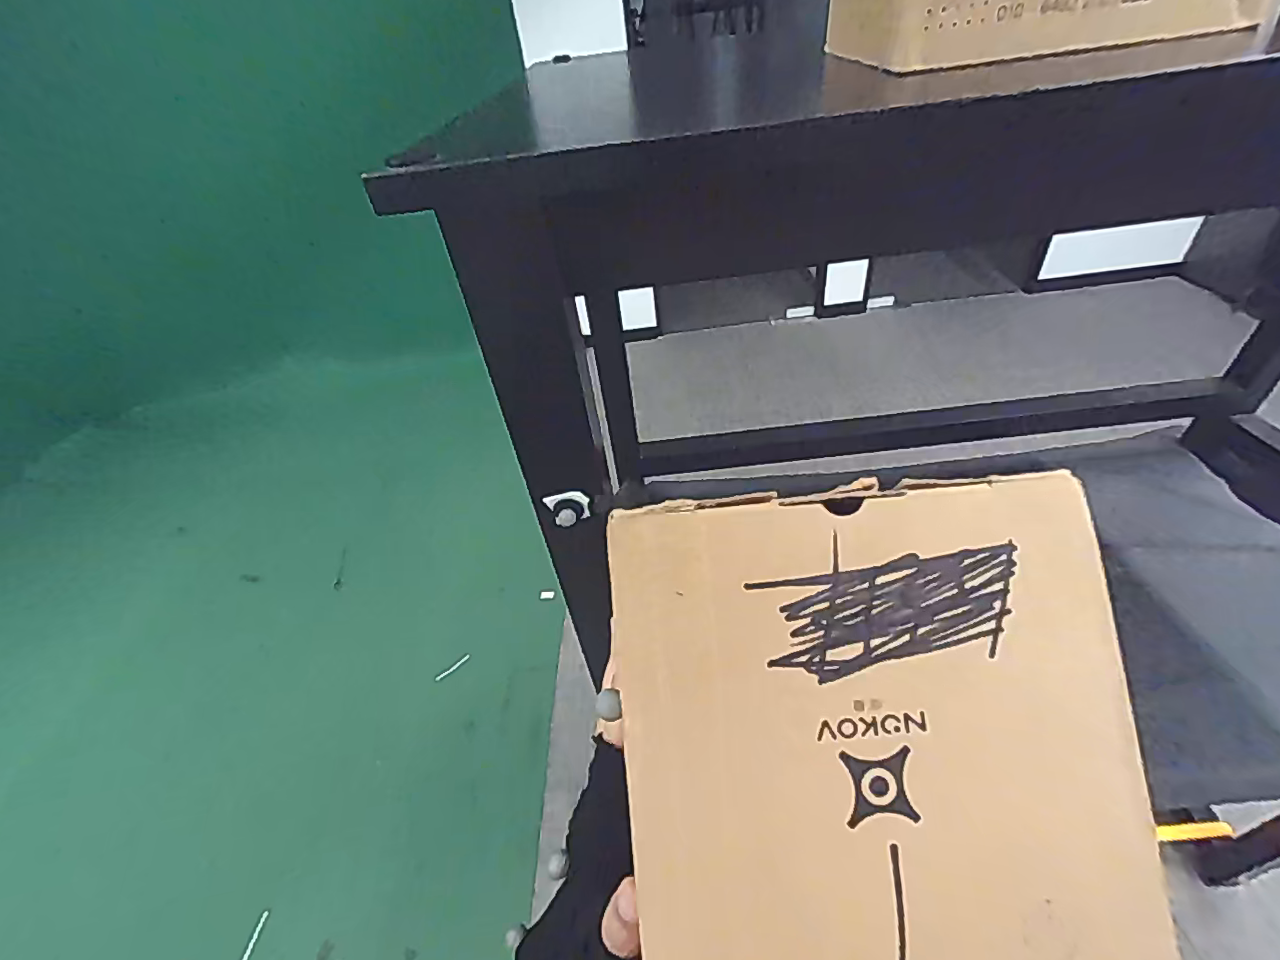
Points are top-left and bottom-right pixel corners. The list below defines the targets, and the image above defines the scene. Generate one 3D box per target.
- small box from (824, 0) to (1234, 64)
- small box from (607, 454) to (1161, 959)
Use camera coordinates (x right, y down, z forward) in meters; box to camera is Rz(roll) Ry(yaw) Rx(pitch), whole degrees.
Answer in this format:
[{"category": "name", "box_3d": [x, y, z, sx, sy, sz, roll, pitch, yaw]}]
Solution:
[{"category": "small box", "box_3d": [0.200, -0.329, 0.275, 0.168, 0.176, 0.179, -3, 40, 6]}, {"category": "small box", "box_3d": [0.074, 0.094, 0.258, 0.168, 0.176, 0.179, -5, 82, 0]}]
